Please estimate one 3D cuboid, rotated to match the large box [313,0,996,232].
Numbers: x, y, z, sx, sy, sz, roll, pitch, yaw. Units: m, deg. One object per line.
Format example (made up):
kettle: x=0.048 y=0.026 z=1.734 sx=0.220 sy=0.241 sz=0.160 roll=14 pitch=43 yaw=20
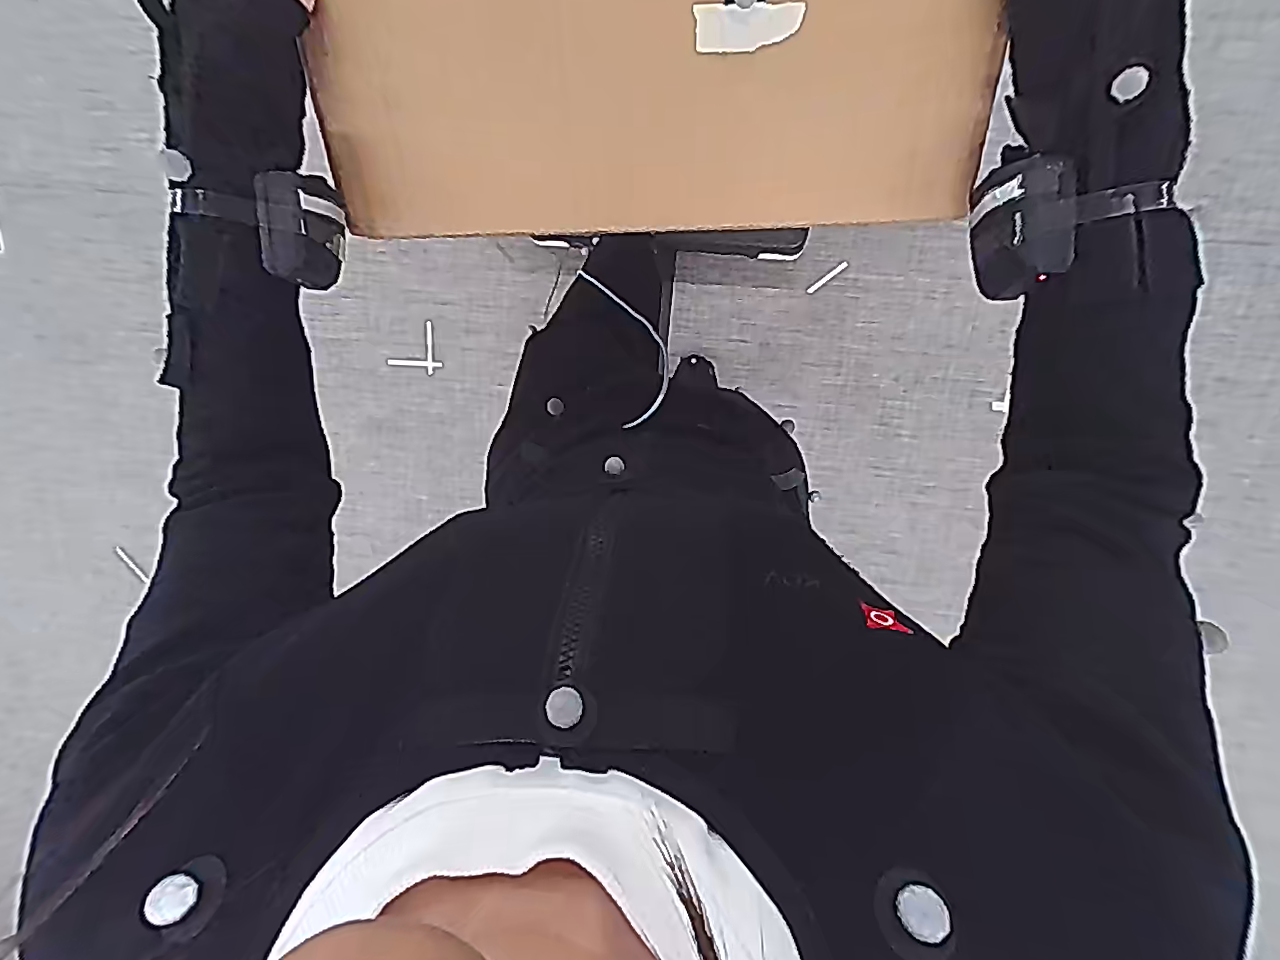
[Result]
large box: x=0.013 y=-0.384 z=0.424 sx=0.408 sy=0.320 sz=0.320 roll=1 pitch=119 yaw=8
